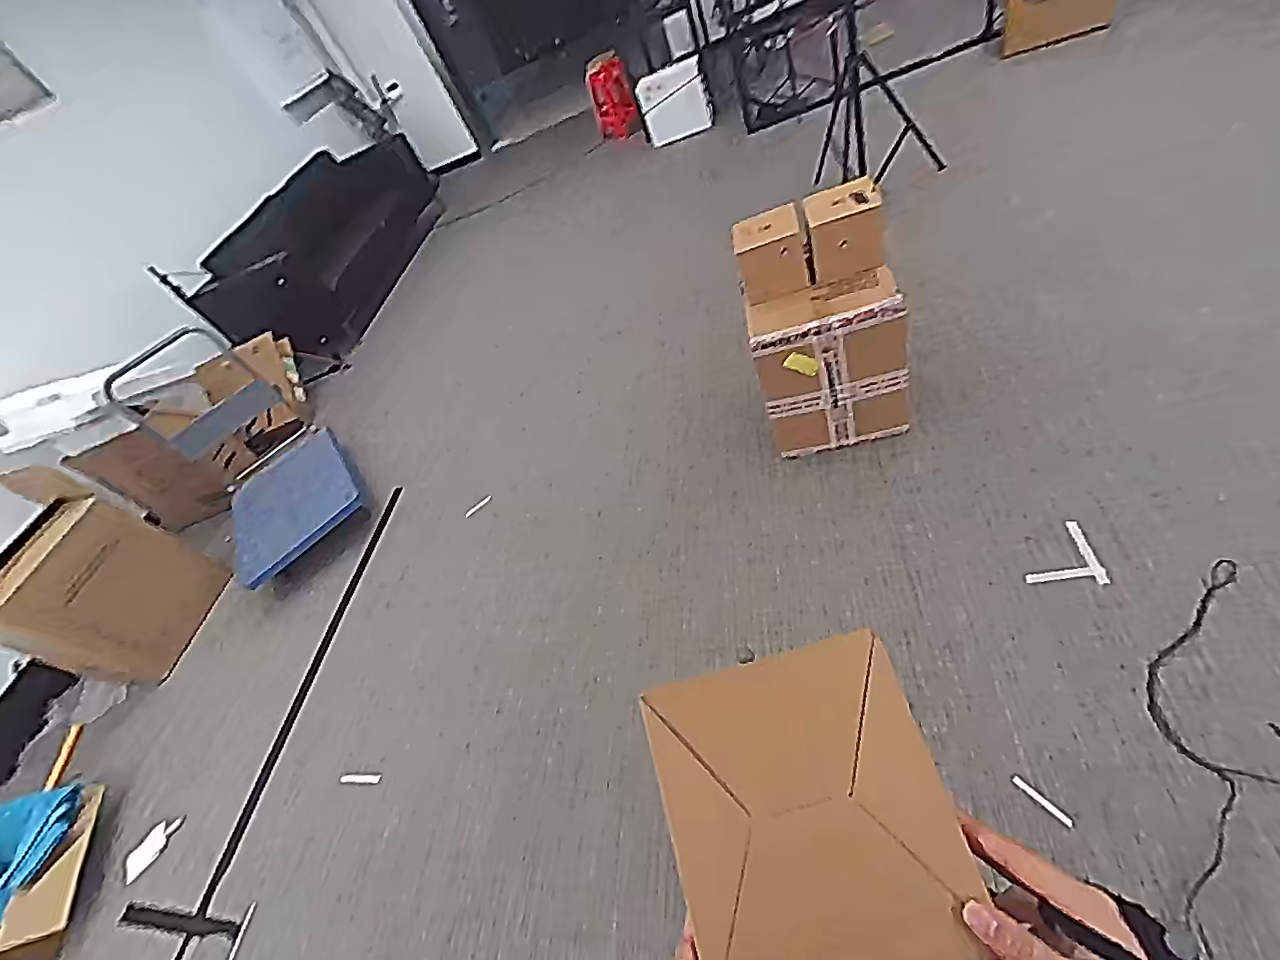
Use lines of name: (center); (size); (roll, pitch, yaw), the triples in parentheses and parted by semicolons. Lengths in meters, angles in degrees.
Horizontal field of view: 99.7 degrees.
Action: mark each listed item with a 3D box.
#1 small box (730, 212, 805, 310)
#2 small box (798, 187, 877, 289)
small box: (0.364, -0.616, 1.535); (0.179, 0.176, 0.168); (-13, 47, 21)
small box: (0.541, -0.657, 1.478); (0.179, 0.176, 0.168); (-12, 49, 18)
